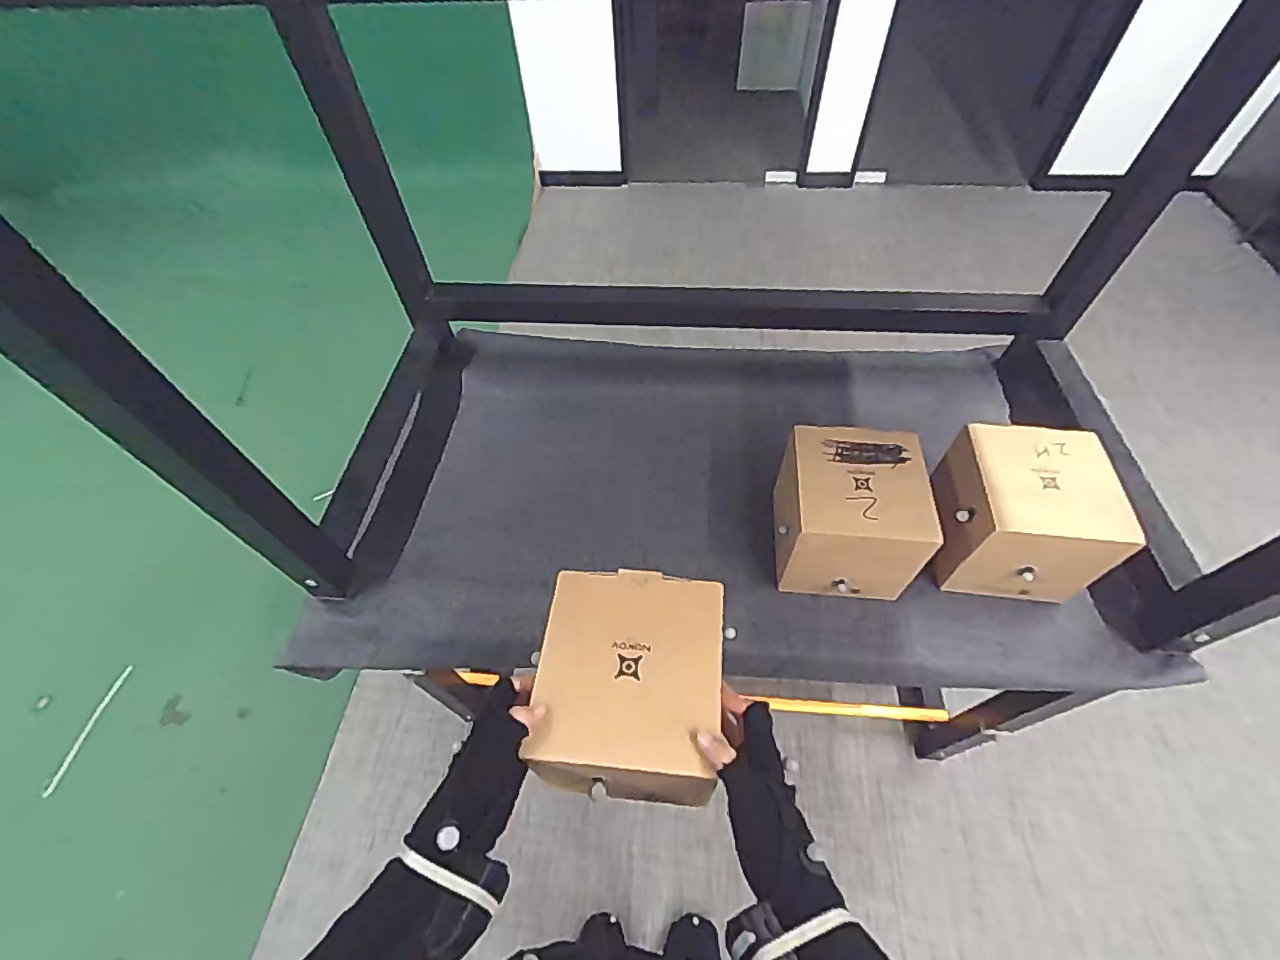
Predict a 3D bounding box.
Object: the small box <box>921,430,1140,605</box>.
[{"bbox_3d":[0.511,0.055,0.743,0.168,0.176,0.179,6,53,7],"label":"small box"}]
